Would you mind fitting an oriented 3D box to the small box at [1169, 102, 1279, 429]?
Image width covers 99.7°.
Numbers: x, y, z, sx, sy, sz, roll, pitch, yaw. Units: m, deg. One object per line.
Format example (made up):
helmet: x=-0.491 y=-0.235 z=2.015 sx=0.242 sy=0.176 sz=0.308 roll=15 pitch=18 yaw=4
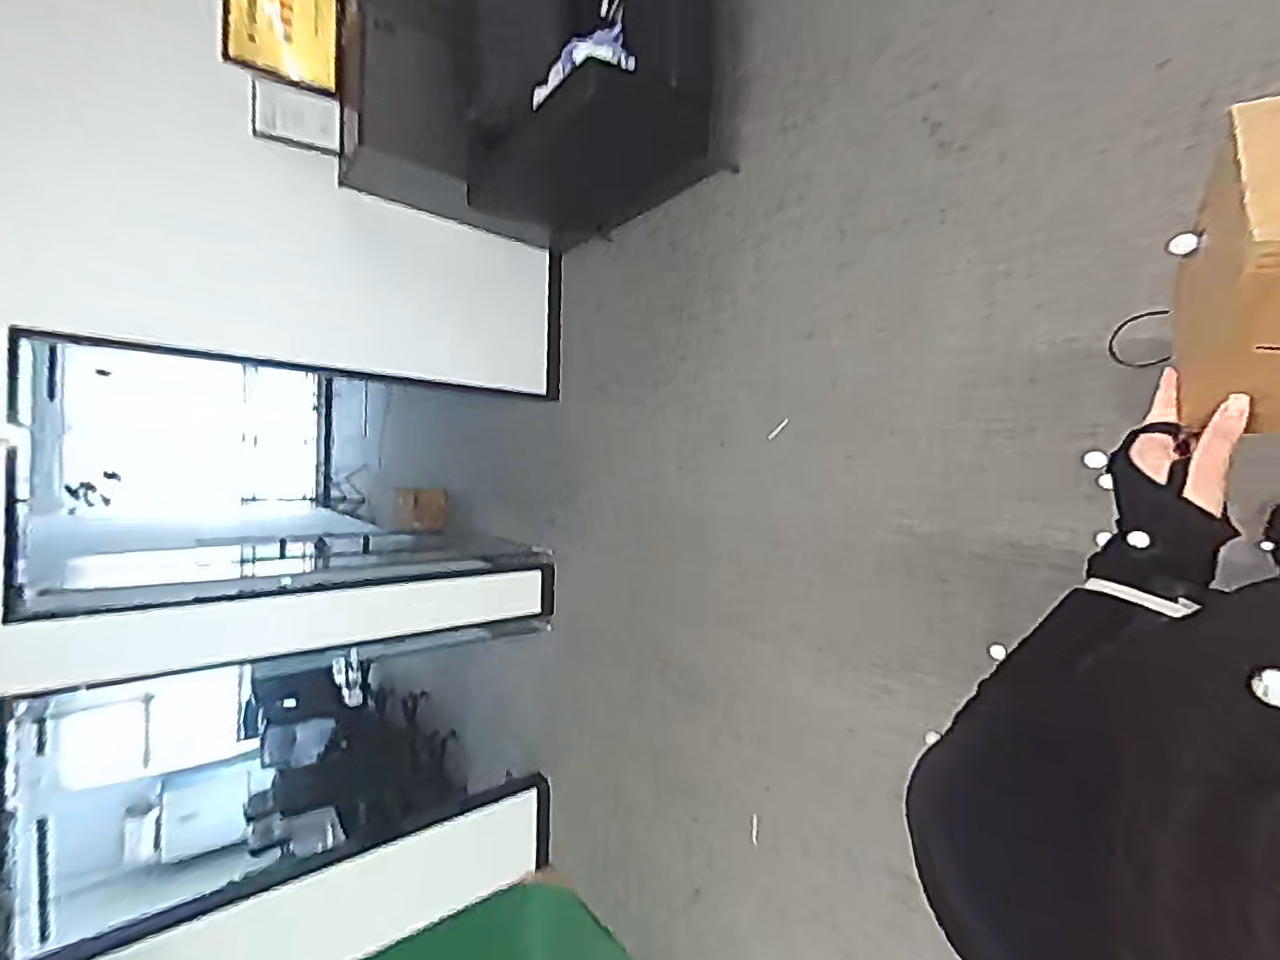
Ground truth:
small box: x=0.498 y=-0.149 z=0.365 sx=0.179 sy=0.168 sz=0.176 roll=8 pitch=58 yaw=35
